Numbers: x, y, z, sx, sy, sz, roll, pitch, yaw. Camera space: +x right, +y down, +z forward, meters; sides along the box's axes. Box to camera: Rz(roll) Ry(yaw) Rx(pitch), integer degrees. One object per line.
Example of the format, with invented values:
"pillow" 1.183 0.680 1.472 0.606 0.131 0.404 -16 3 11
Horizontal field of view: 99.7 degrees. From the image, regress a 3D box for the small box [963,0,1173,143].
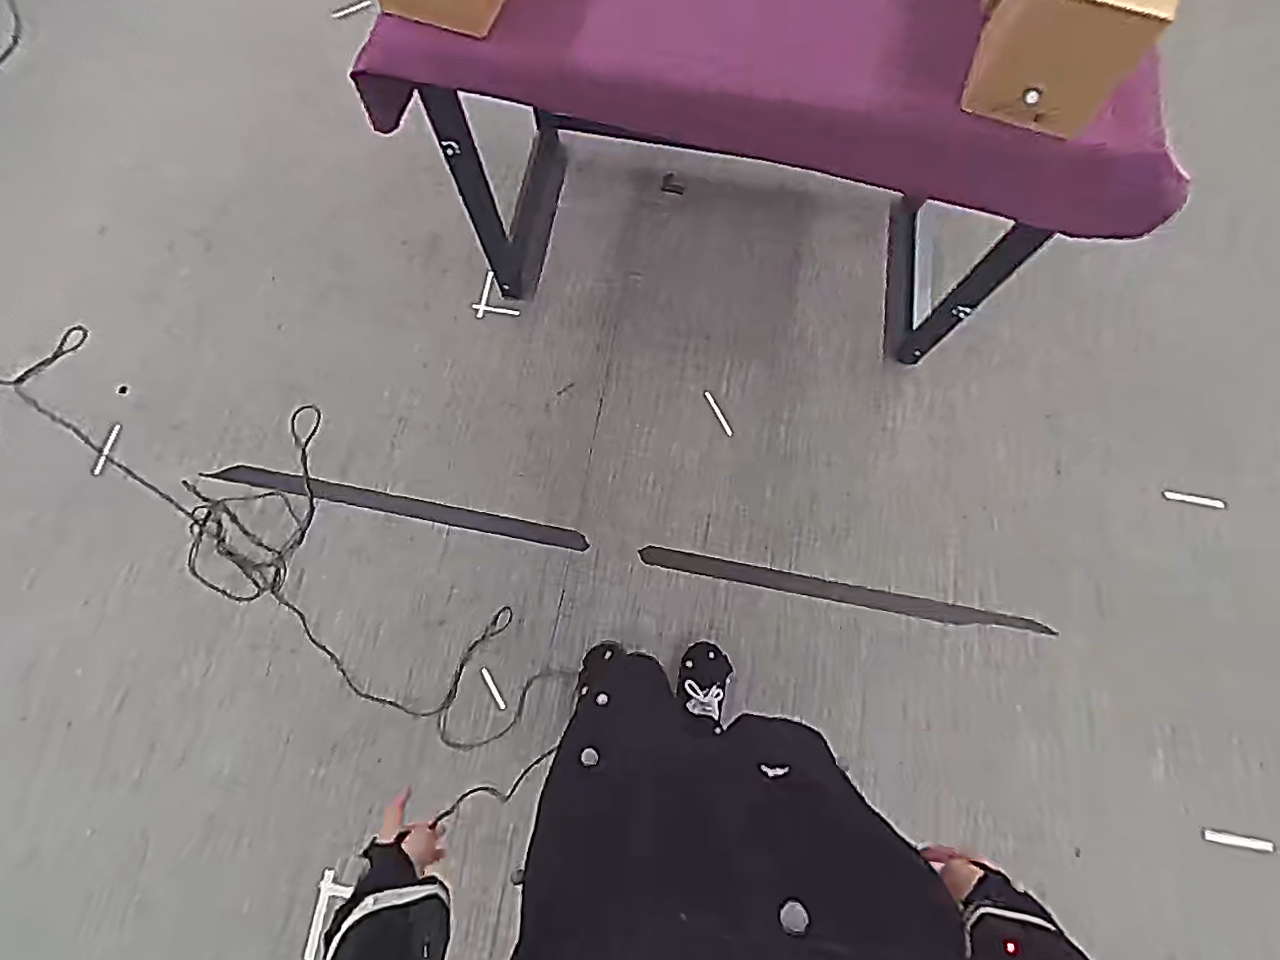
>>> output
"small box" 0.588 -0.624 0.755 0.168 0.176 0.179 21 76 6
